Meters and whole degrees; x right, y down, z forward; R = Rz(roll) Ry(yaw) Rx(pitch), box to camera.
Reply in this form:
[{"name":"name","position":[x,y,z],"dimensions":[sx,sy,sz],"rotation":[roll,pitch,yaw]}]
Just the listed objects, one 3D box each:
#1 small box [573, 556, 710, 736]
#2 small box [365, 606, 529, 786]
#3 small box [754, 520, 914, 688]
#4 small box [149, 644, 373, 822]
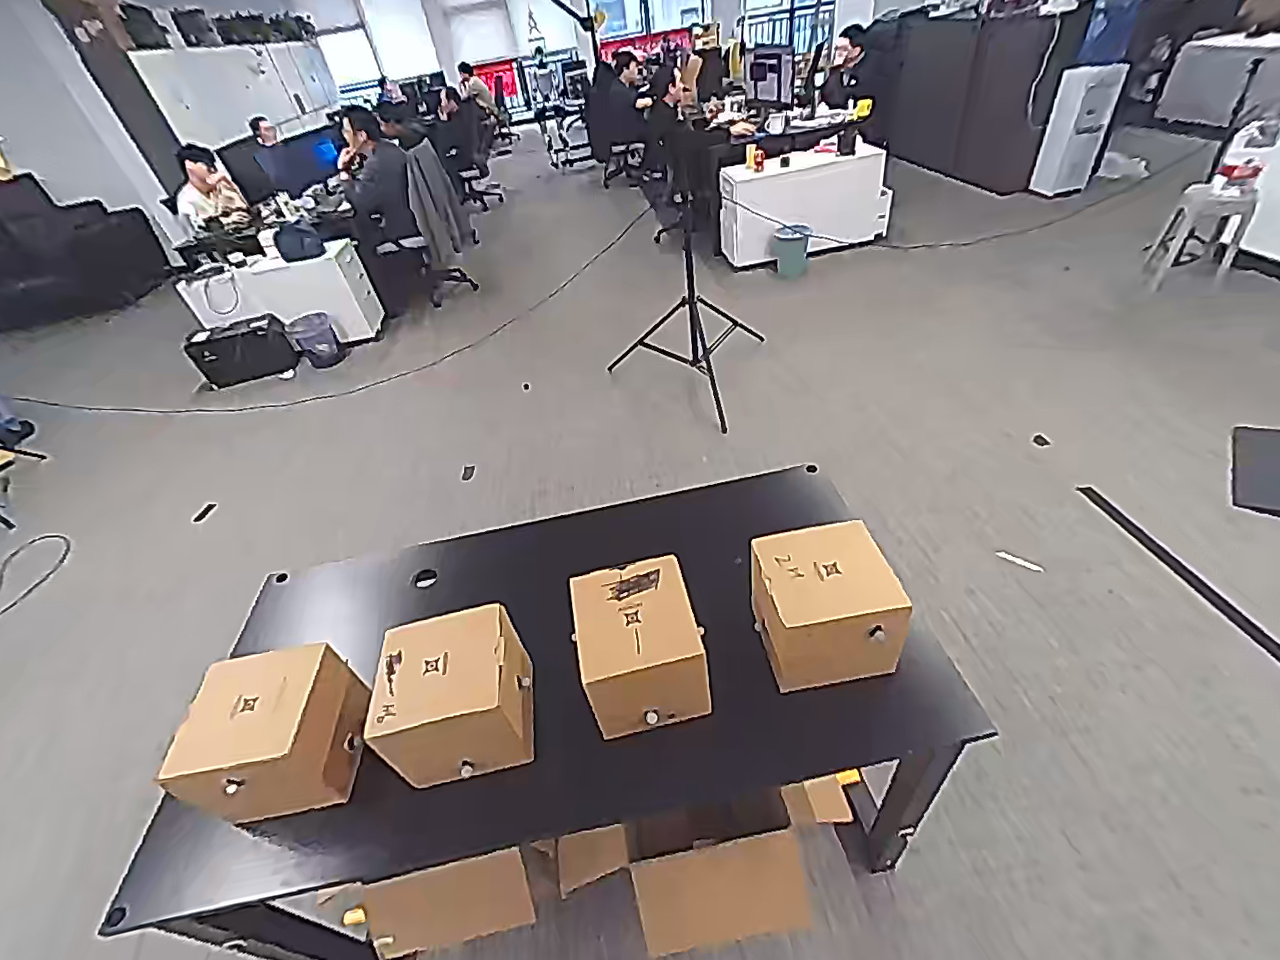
[{"name":"small box","position":[0.002,0.246,0.805],"dimensions":[0.168,0.176,0.179],"rotation":[-13,41,-3]},{"name":"small box","position":[-0.261,0.313,0.784],"dimensions":[0.179,0.176,0.168],"rotation":[-12,40,-4]},{"name":"small box","position":[0.275,0.187,0.813],"dimensions":[0.179,0.176,0.168],"rotation":[-11,39,0]},{"name":"small box","position":[-0.520,0.365,0.776],"dimensions":[0.179,0.176,0.168],"rotation":[-10,41,-1]}]
